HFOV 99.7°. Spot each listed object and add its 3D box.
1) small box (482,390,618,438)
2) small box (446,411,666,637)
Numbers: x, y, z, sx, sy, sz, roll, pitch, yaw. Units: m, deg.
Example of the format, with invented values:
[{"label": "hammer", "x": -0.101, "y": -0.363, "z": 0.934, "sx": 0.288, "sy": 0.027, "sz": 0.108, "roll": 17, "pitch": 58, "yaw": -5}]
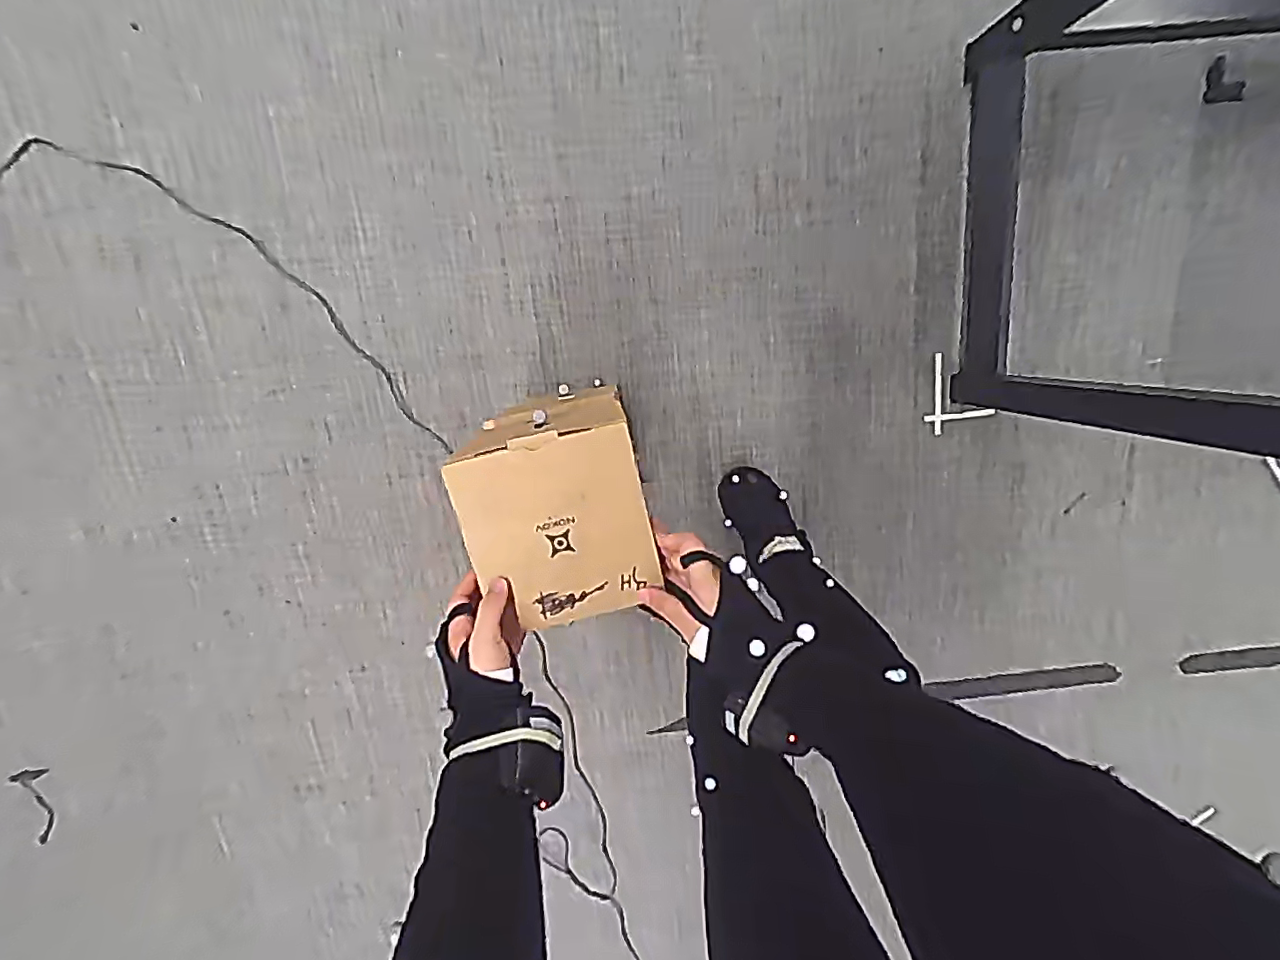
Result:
[{"label": "small box", "x": -0.100, "y": -0.021, "z": 0.753, "sx": 0.168, "sy": 0.176, "sz": 0.179, "roll": -13, "pitch": 103, "yaw": -1}, {"label": "small box", "x": -0.079, "y": 0.030, "z": 0.563, "sx": 0.168, "sy": 0.176, "sz": 0.179, "roll": -13, "pitch": 104, "yaw": -1}]
